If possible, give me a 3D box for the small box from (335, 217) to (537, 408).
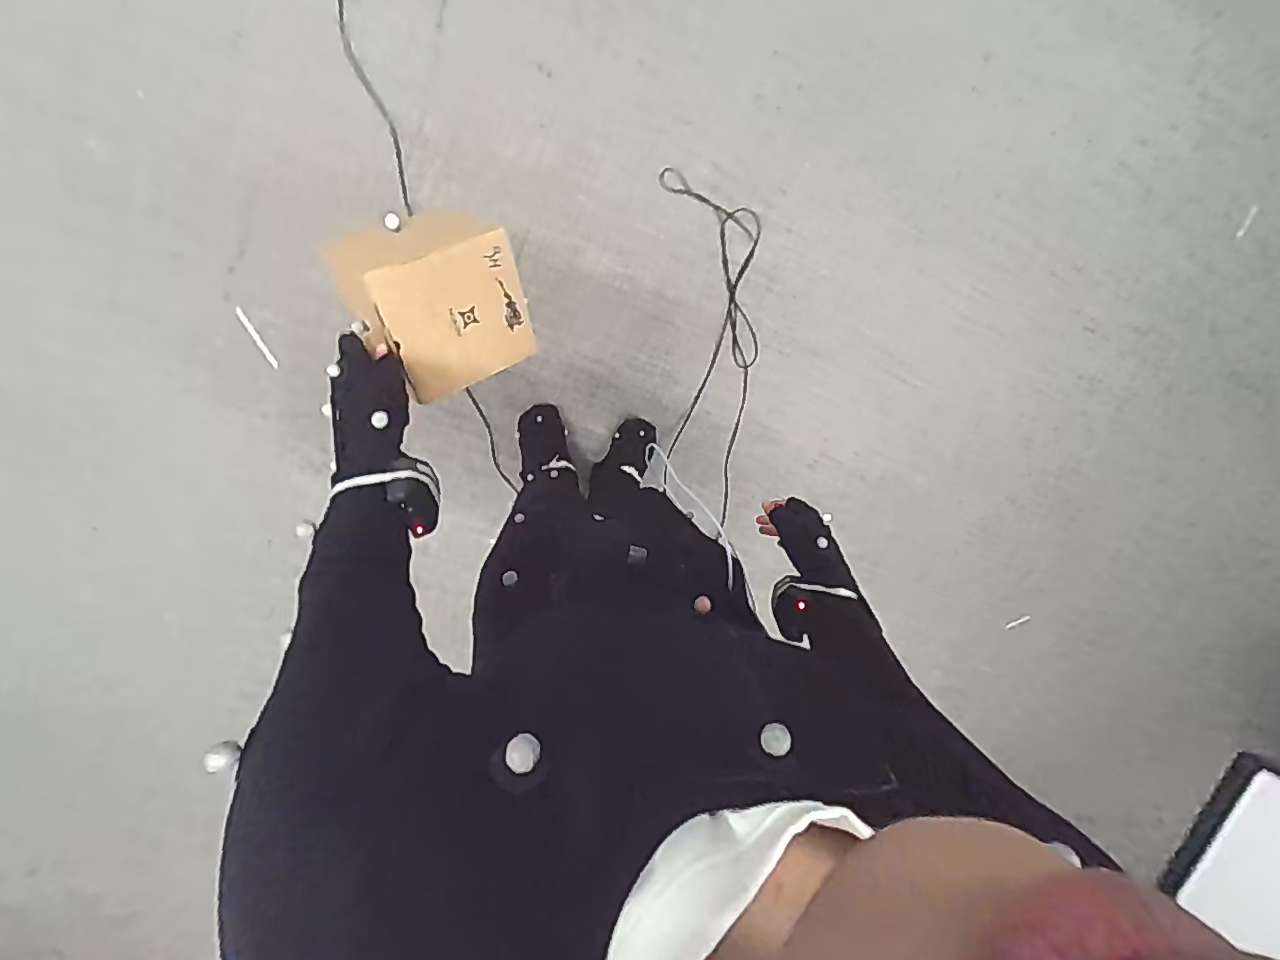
[{"bbox_3d":[-0.264,-0.223,0.698,0.179,0.176,0.168,-32,136,-25],"label":"small box"}]
